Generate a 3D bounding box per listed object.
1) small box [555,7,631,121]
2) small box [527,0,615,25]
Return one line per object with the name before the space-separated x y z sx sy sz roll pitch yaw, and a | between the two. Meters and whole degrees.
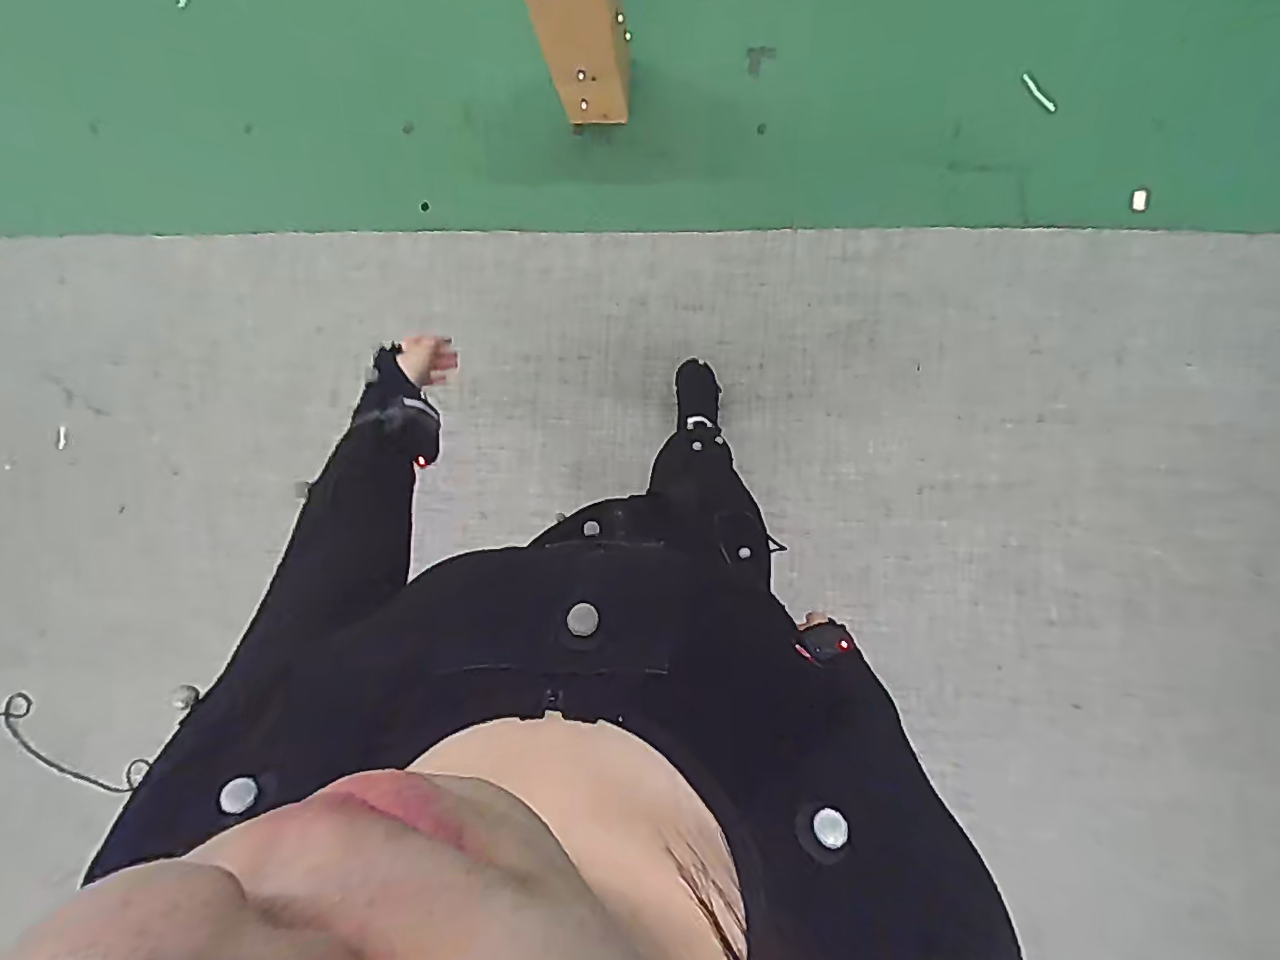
small box | -0.115 -1.059 1.391 0.168 0.176 0.179 3 92 6
small box | -0.143 -1.043 1.063 0.179 0.176 0.168 6 93 5
